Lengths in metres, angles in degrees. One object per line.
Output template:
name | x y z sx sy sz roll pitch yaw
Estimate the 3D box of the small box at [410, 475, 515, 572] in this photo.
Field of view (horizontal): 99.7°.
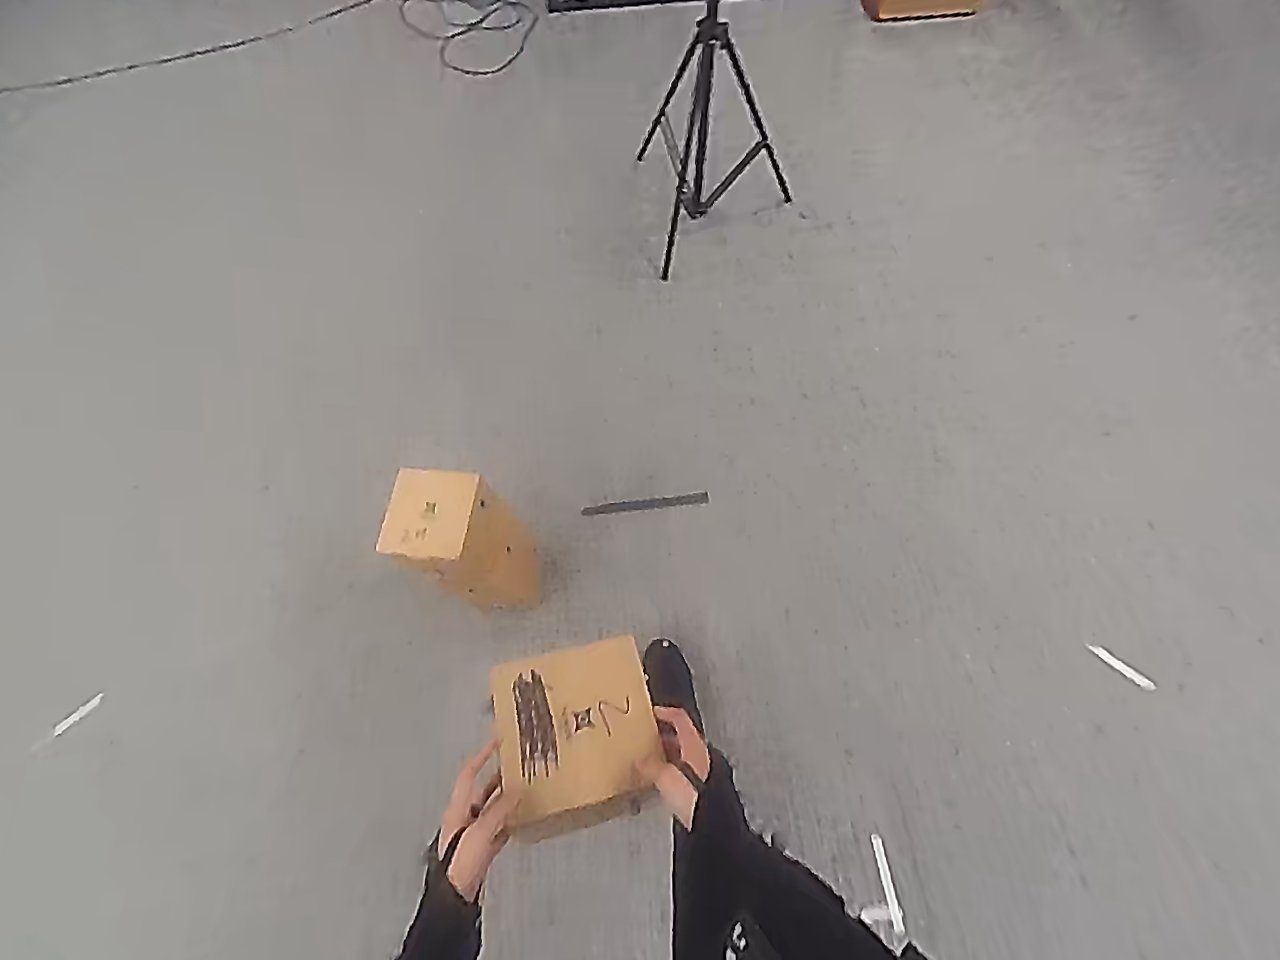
small box | -0.384 0.100 1.204 0.168 0.176 0.179 0 68 3
